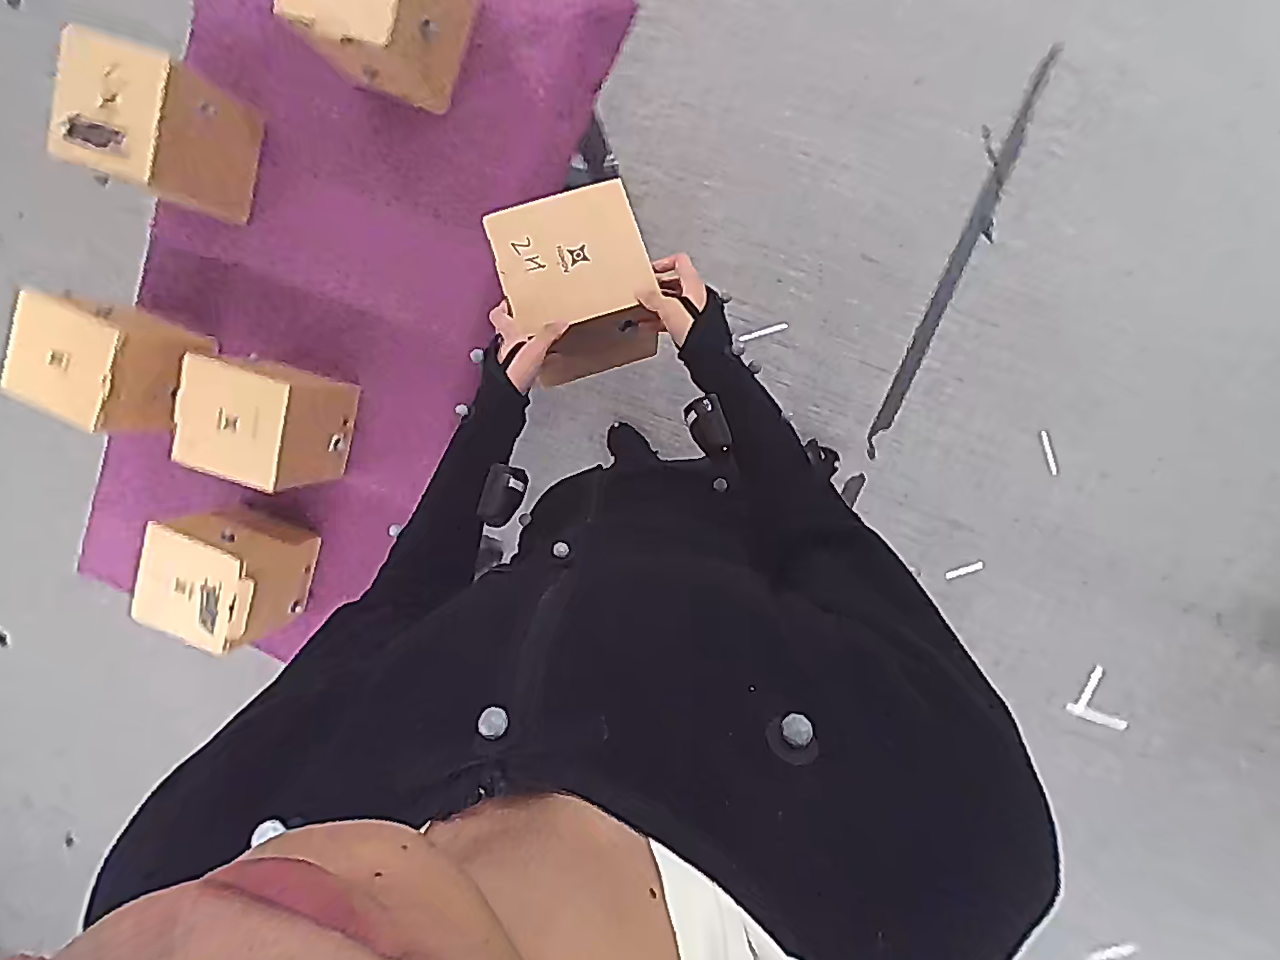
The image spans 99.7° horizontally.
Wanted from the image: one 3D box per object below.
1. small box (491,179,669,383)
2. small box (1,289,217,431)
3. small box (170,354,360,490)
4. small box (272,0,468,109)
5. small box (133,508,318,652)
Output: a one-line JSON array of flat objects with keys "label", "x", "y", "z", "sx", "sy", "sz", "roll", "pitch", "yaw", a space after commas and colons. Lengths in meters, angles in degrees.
[{"label": "small box", "x": -0.073, "y": -0.248, "z": 0.708, "sx": 0.179, "sy": 0.176, "sz": 0.168, "roll": -17, "pitch": 81, "yaw": -3}, {"label": "small box", "x": -0.864, "y": -0.189, "z": 0.893, "sx": 0.179, "sy": 0.176, "sz": 0.168, "roll": 23, "pitch": 99, "yaw": 3}, {"label": "small box", "x": -0.598, "y": -0.096, "z": 0.877, "sx": 0.179, "sy": 0.176, "sz": 0.168, "roll": 16, "pitch": 100, "yaw": 5}, {"label": "small box", "x": -0.369, "y": -0.675, "z": 0.766, "sx": 0.168, "sy": 0.176, "sz": 0.179, "roll": 22, "pitch": 101, "yaw": 3}, {"label": "small box", "x": -0.693, "y": 0.158, "z": 0.921, "sx": 0.179, "sy": 0.176, "sz": 0.168, "roll": 20, "pitch": 99, "yaw": 6}]
